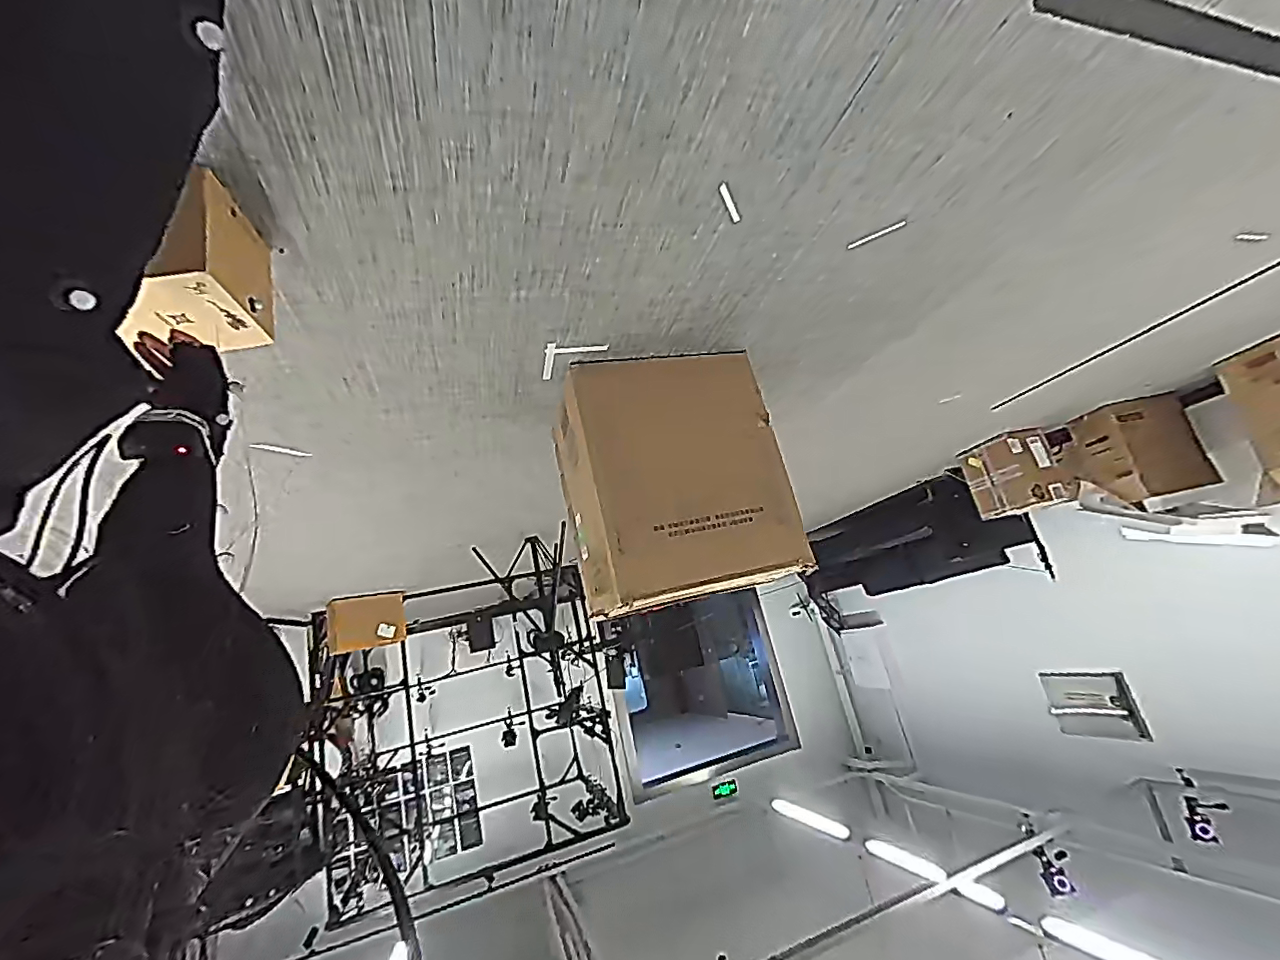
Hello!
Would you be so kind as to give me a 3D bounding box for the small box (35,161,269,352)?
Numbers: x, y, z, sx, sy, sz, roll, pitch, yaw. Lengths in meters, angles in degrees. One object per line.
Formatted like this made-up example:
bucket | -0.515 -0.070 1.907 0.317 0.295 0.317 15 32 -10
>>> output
small box | -0.630 -0.295 0.724 0.179 0.176 0.168 -10 164 -11
